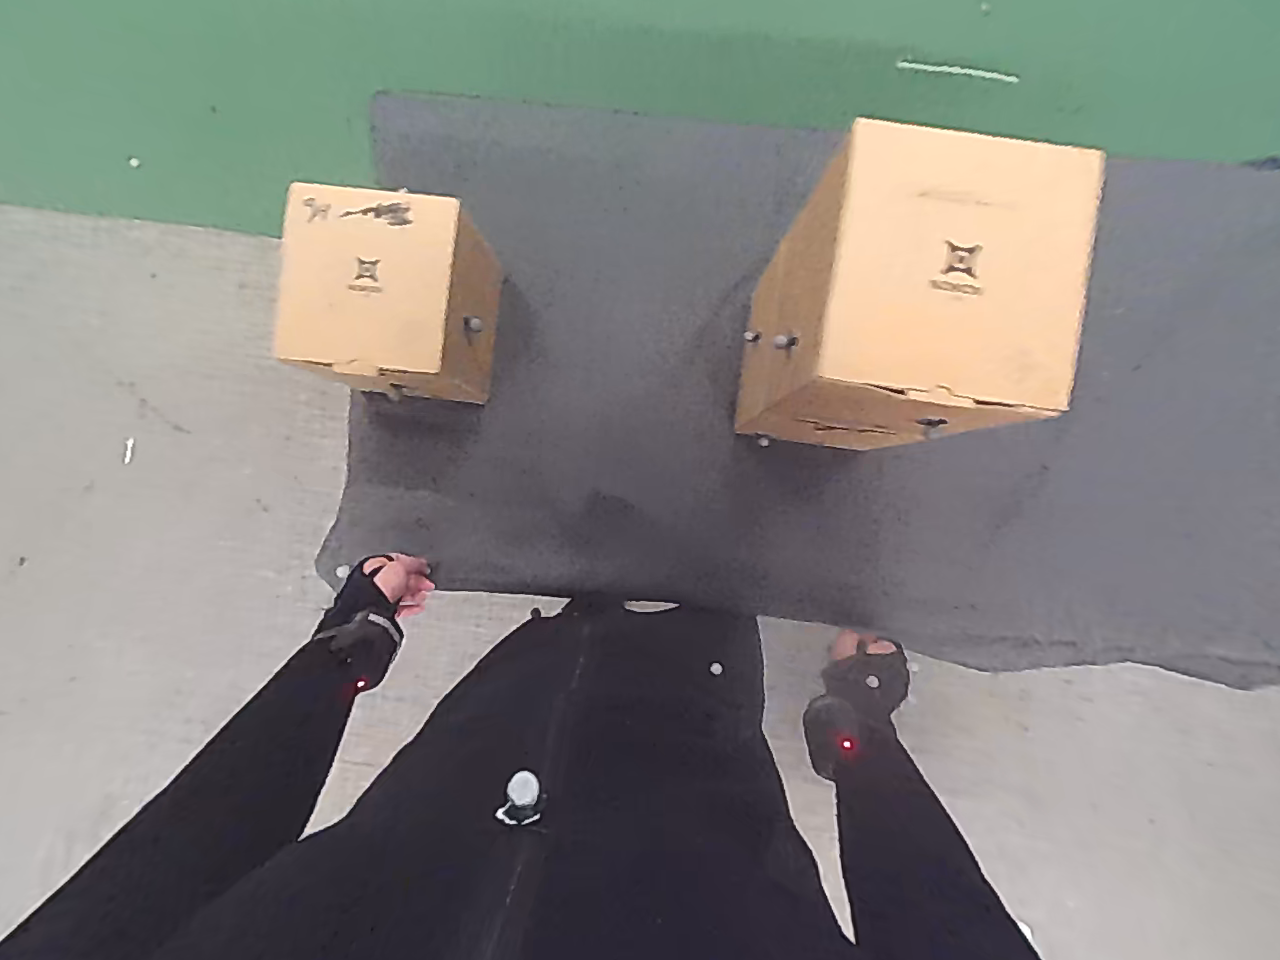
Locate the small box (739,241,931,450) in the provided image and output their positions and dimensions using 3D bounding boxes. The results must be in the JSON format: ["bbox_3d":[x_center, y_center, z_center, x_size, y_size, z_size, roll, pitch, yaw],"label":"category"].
[{"bbox_3d":[0.208,-0.130,0.589,0.168,0.176,0.179,8,89,1],"label":"small box"}]

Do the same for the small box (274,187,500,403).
[{"bbox_3d":[-0.261,-0.186,0.596,0.168,0.176,0.179,6,90,-1],"label":"small box"}]

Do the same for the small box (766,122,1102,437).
[{"bbox_3d":[0.205,-0.134,0.427,0.168,0.176,0.179,8,88,0],"label":"small box"}]
